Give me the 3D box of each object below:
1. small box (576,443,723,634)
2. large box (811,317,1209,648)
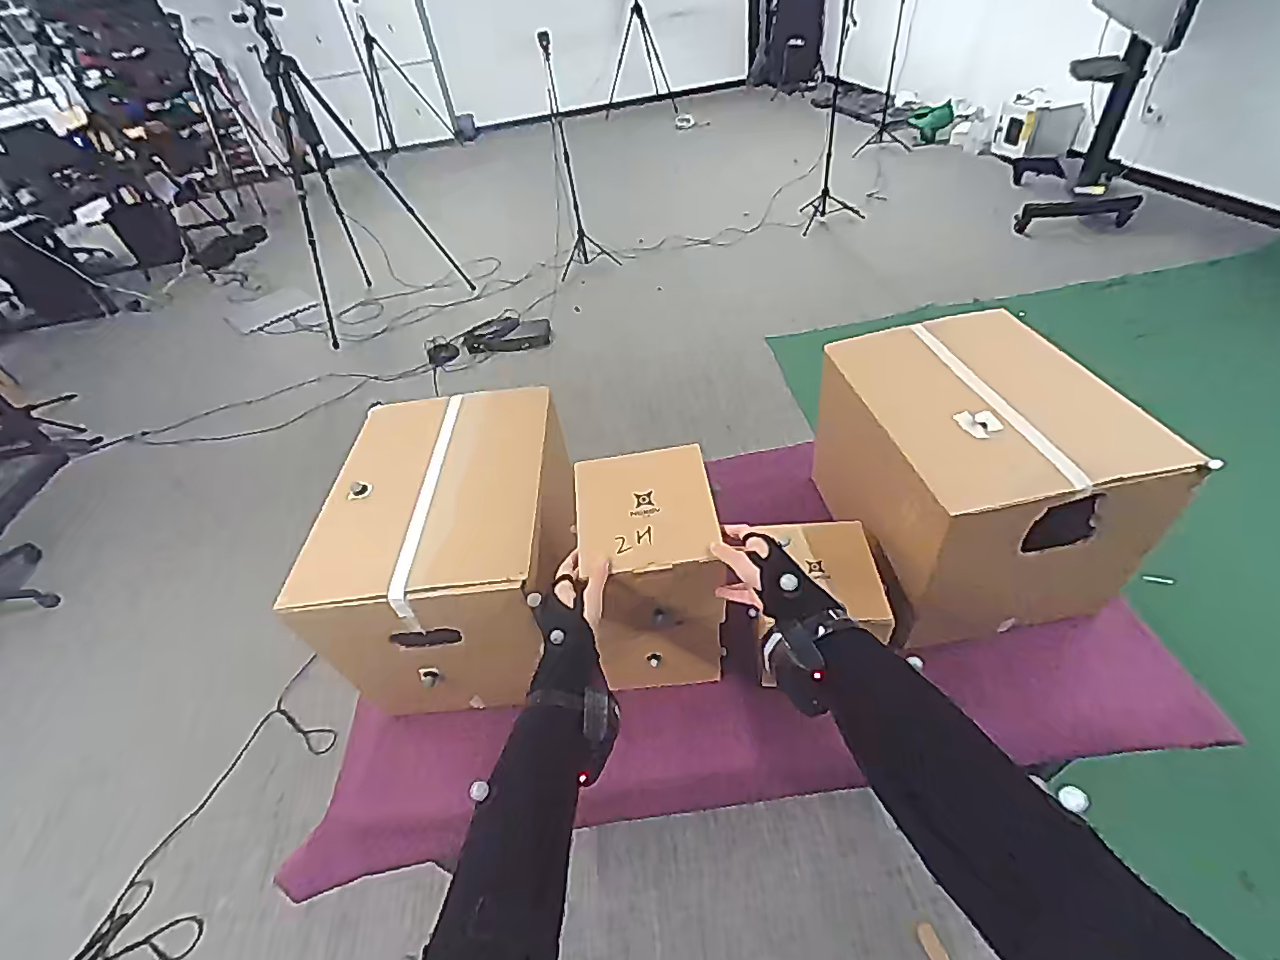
[{"bbox_3d":[0.011,0.079,0.710,0.168,0.176,0.179,-9,50,1],"label":"small box"},{"bbox_3d":[0.503,-0.007,0.868,0.320,0.320,0.408,-12,44,1],"label":"large box"}]
